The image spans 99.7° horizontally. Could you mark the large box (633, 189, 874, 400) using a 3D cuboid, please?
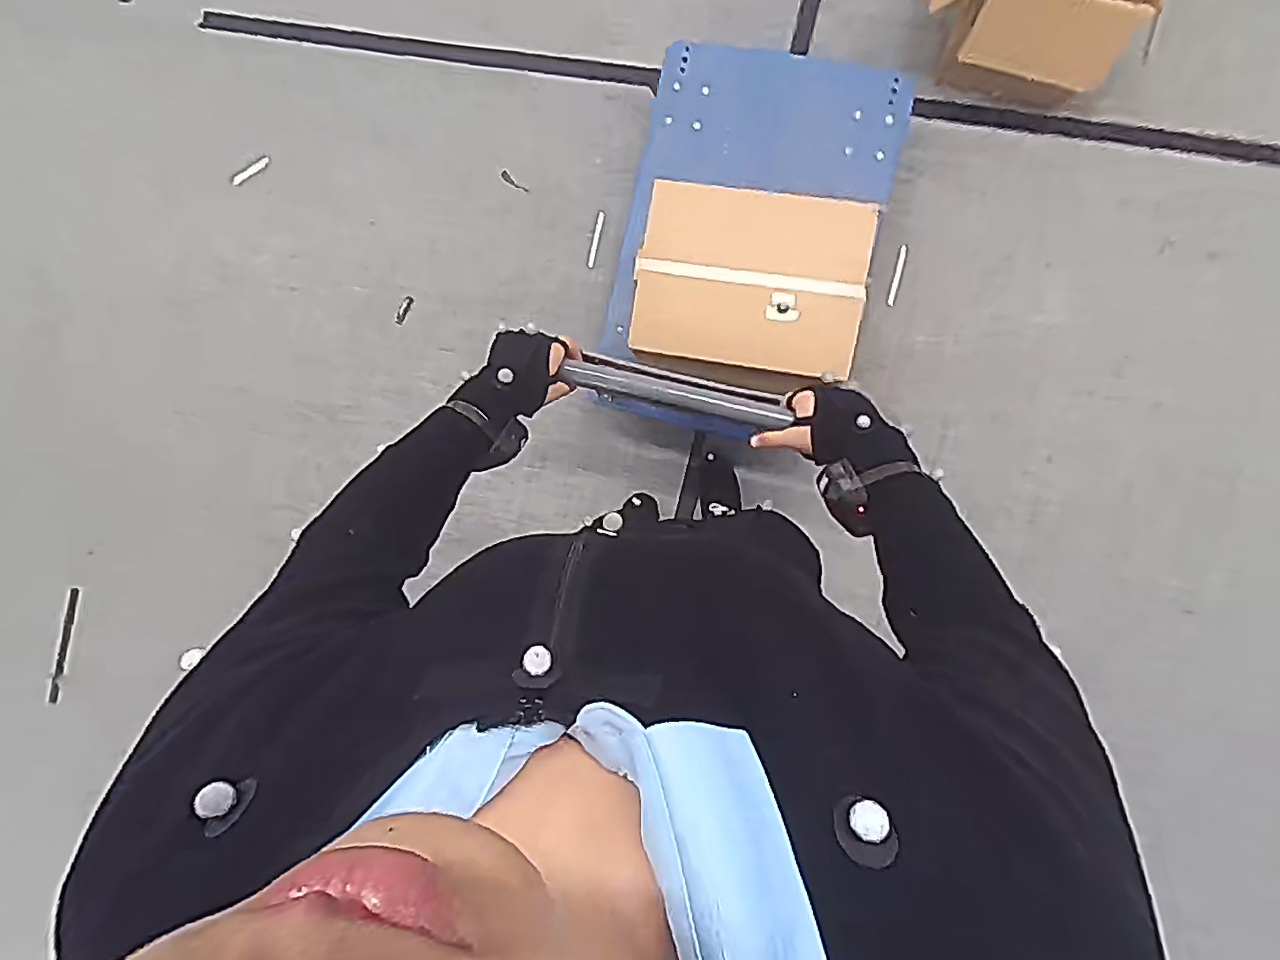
[{"bbox_3d":[0.215,-0.363,1.137,0.408,0.320,0.320,10,93,5],"label":"large box"}]
